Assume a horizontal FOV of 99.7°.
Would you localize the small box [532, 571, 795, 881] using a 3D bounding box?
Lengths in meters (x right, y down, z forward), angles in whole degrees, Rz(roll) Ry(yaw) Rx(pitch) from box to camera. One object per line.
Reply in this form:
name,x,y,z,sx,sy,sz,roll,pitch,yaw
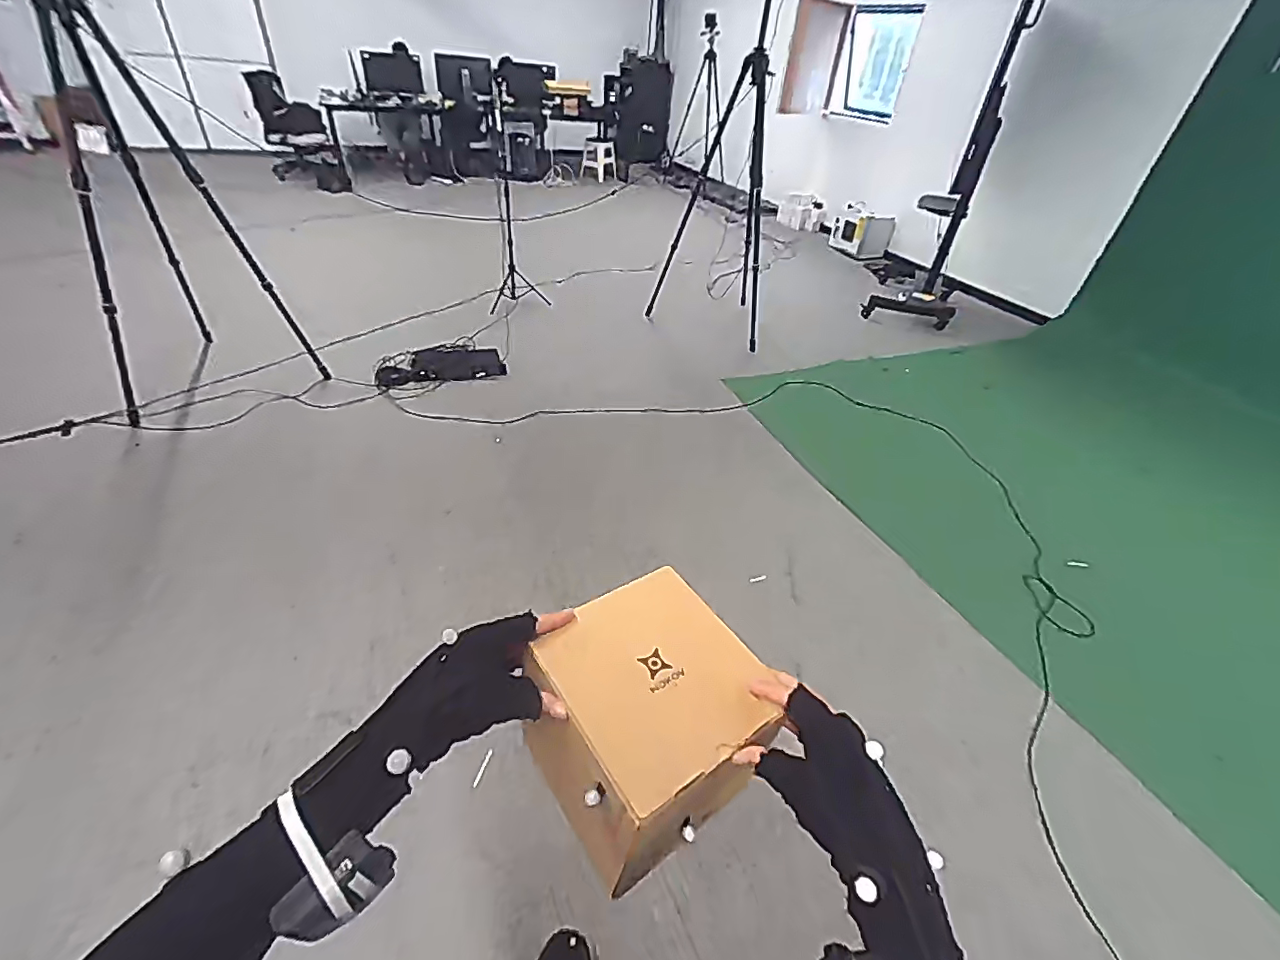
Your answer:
small box,0.007,0.225,0.514,0.168,0.176,0.179,-18,46,-33
